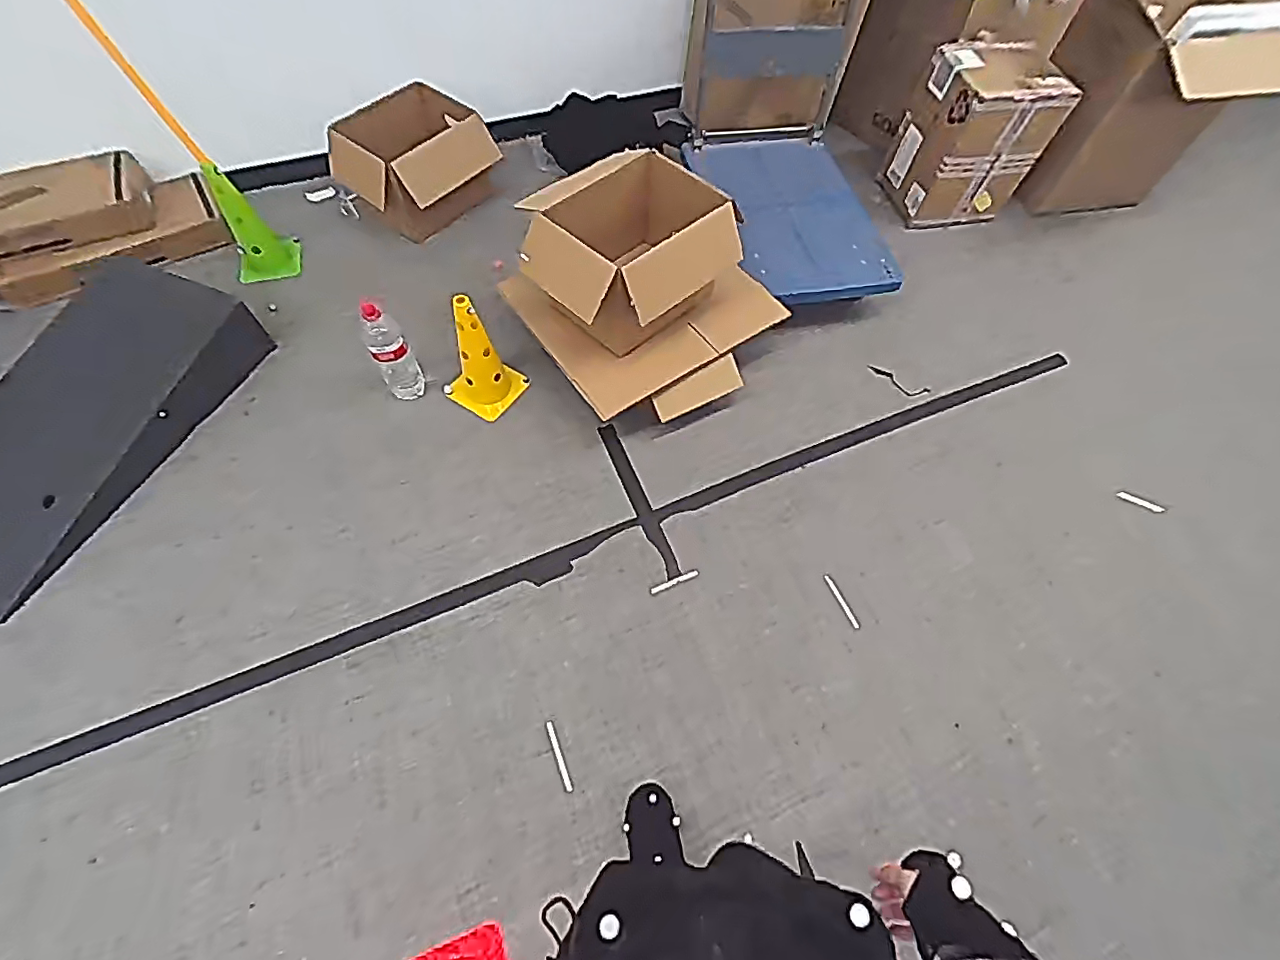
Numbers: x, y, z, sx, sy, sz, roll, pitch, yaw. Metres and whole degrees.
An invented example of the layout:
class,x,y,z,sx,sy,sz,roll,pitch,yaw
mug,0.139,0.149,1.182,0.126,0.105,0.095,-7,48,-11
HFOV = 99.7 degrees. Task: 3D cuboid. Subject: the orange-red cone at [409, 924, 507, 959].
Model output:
class,x,y,z,sx,sy,sz,roll,pitch,yaw
orange-red cone,-0.327,0.885,0.848,0.198,0.360,0.199,-16,62,-12
